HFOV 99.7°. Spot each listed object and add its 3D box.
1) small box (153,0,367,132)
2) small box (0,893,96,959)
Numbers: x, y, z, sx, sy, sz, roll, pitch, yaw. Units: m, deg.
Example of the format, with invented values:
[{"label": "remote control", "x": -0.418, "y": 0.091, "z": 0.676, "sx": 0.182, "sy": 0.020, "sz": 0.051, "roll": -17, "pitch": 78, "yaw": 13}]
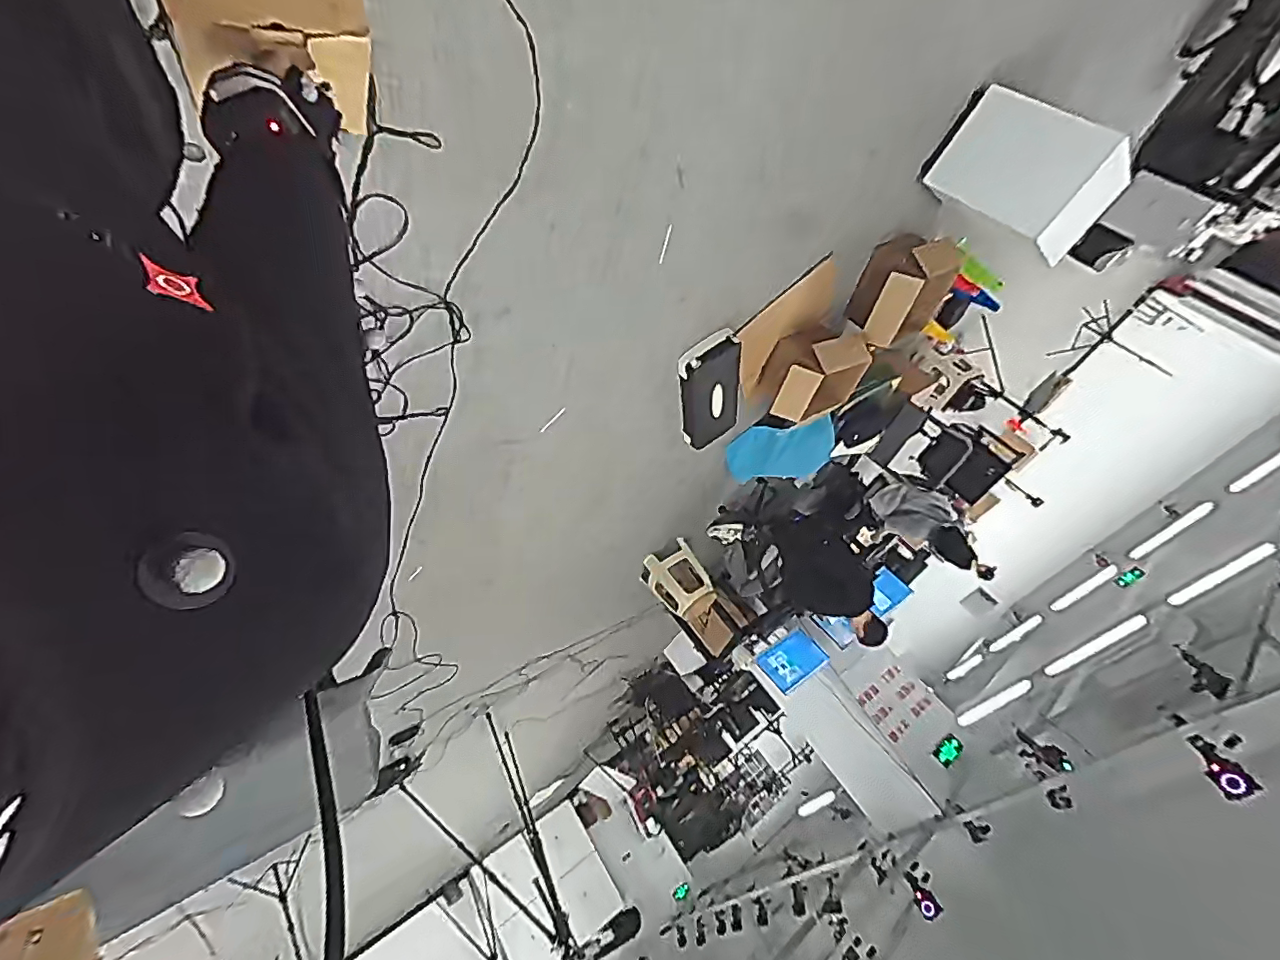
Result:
[{"label": "small box", "x": -0.395, "y": -0.487, "z": 0.551, "sx": 0.168, "sy": 0.179, "sz": 0.176, "roll": -21, "pitch": -173, "yaw": -30}, {"label": "small box", "x": -1.137, "y": 0.924, "z": 1.010, "sx": 0.168, "sy": 0.176, "sz": 0.179, "roll": -8, "pitch": 138, "yaw": -47}]
